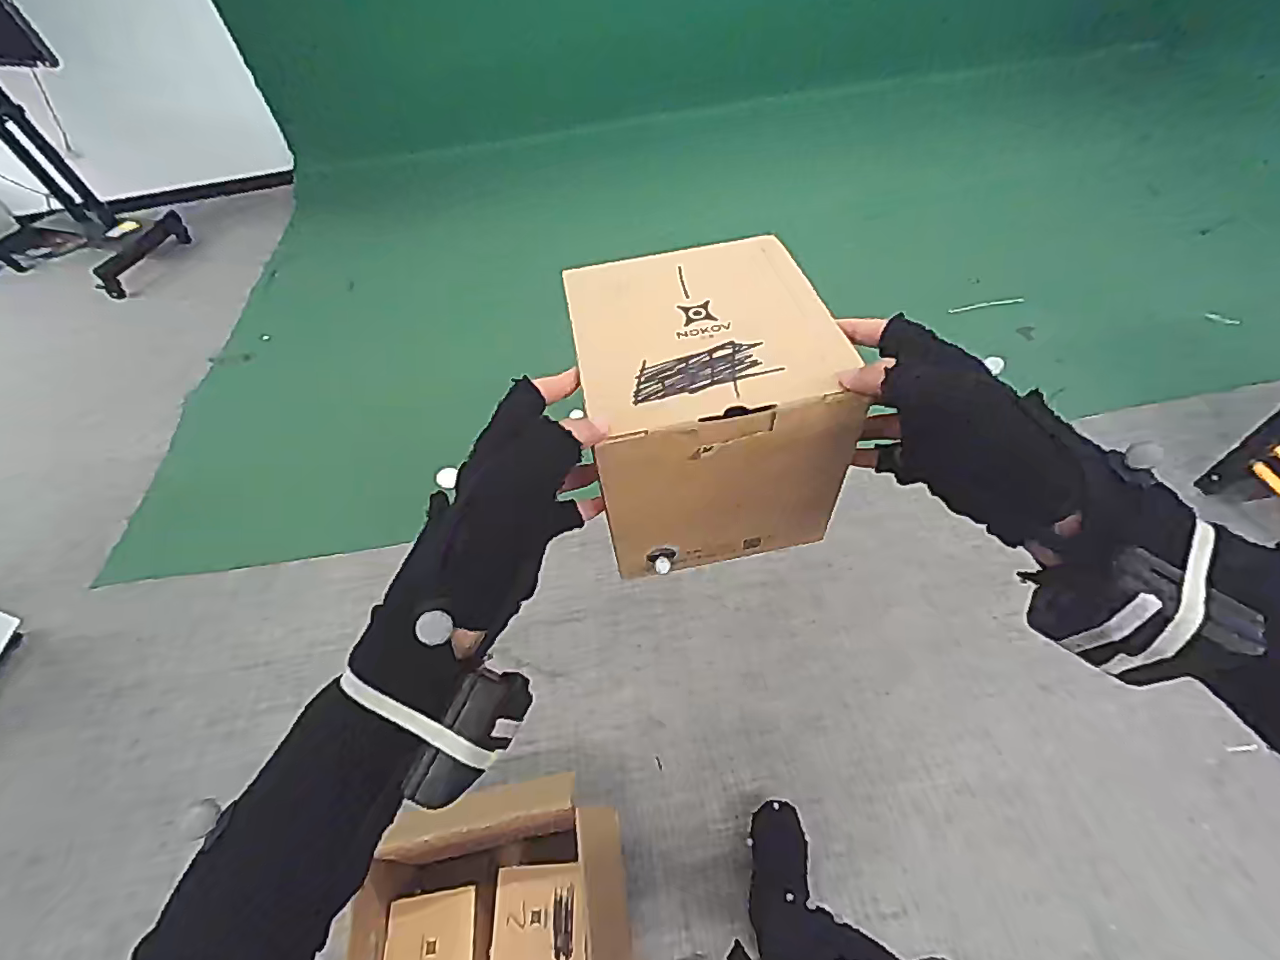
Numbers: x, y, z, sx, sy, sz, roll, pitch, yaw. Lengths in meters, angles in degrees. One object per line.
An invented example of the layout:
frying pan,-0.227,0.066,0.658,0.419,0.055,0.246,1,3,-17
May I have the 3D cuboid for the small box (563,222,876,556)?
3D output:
small box,0.045,-0.059,0.406,0.168,0.176,0.179,-11,52,-3
